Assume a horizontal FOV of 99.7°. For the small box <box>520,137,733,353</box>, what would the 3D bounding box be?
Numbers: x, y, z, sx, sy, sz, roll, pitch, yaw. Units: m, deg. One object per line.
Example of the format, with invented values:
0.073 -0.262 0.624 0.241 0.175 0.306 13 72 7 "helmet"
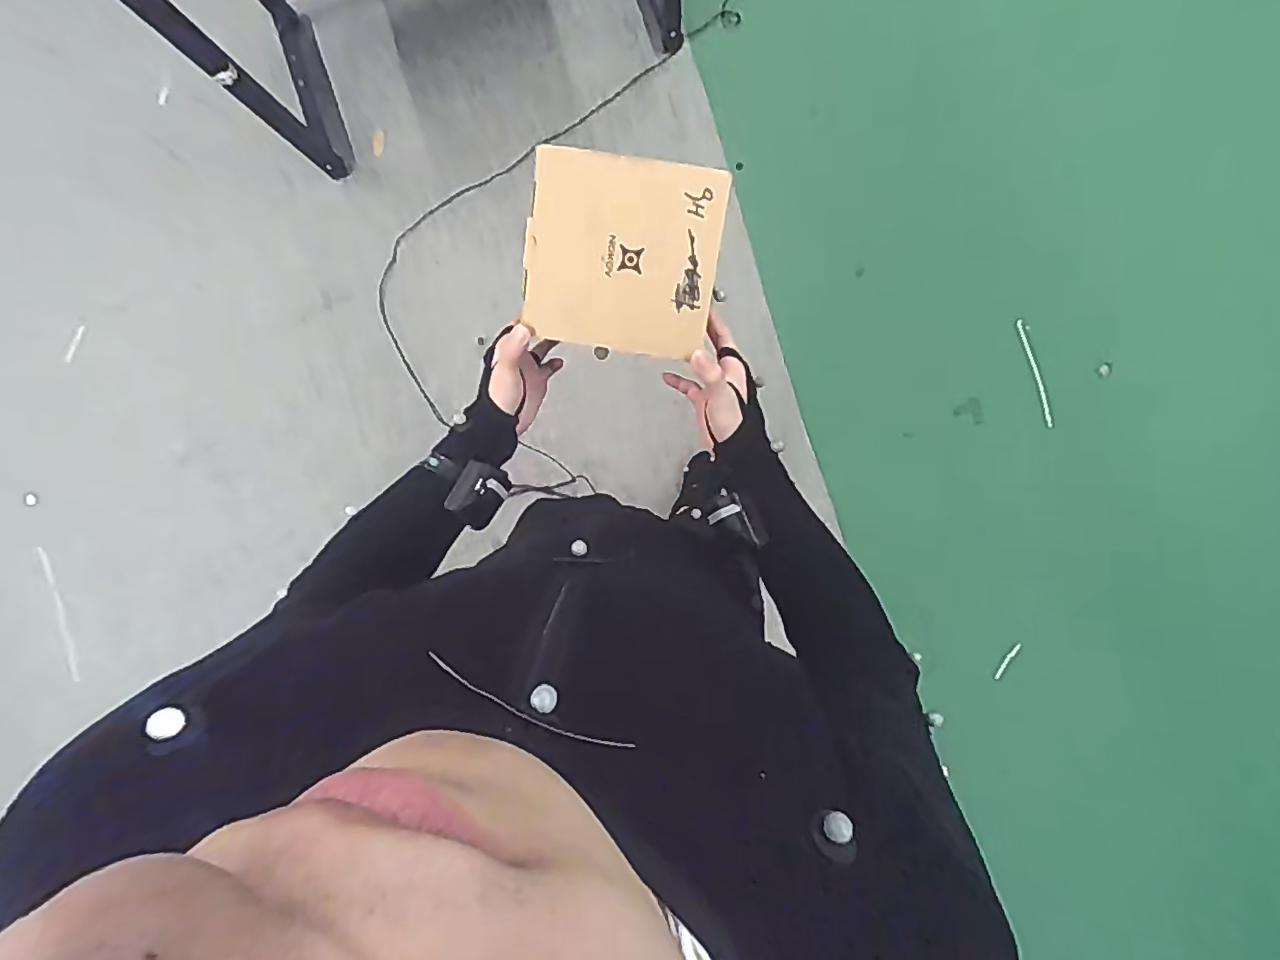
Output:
-0.010 -0.227 0.563 0.179 0.176 0.168 9 105 2 "small box"
